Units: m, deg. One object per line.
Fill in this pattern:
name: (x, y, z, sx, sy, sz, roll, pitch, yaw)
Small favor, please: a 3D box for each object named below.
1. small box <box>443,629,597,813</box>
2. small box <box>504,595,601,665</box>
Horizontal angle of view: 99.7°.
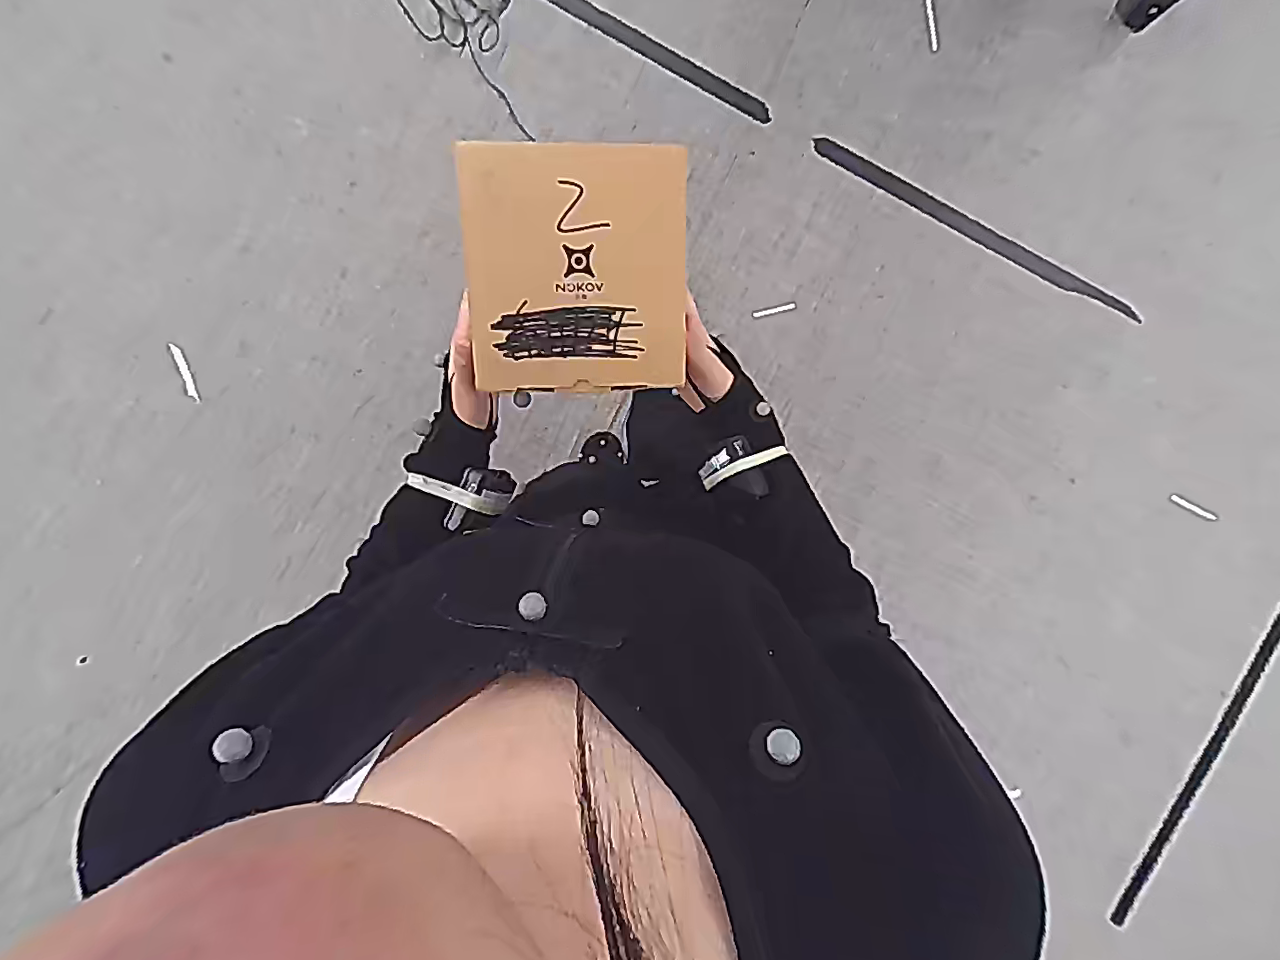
small box: (-0.166, 0.344, 0.808, 0.168, 0.176, 0.179, 18, 92, -2)
small box: (-0.176, 0.329, 0.972, 0.168, 0.176, 0.179, 22, 93, -3)
